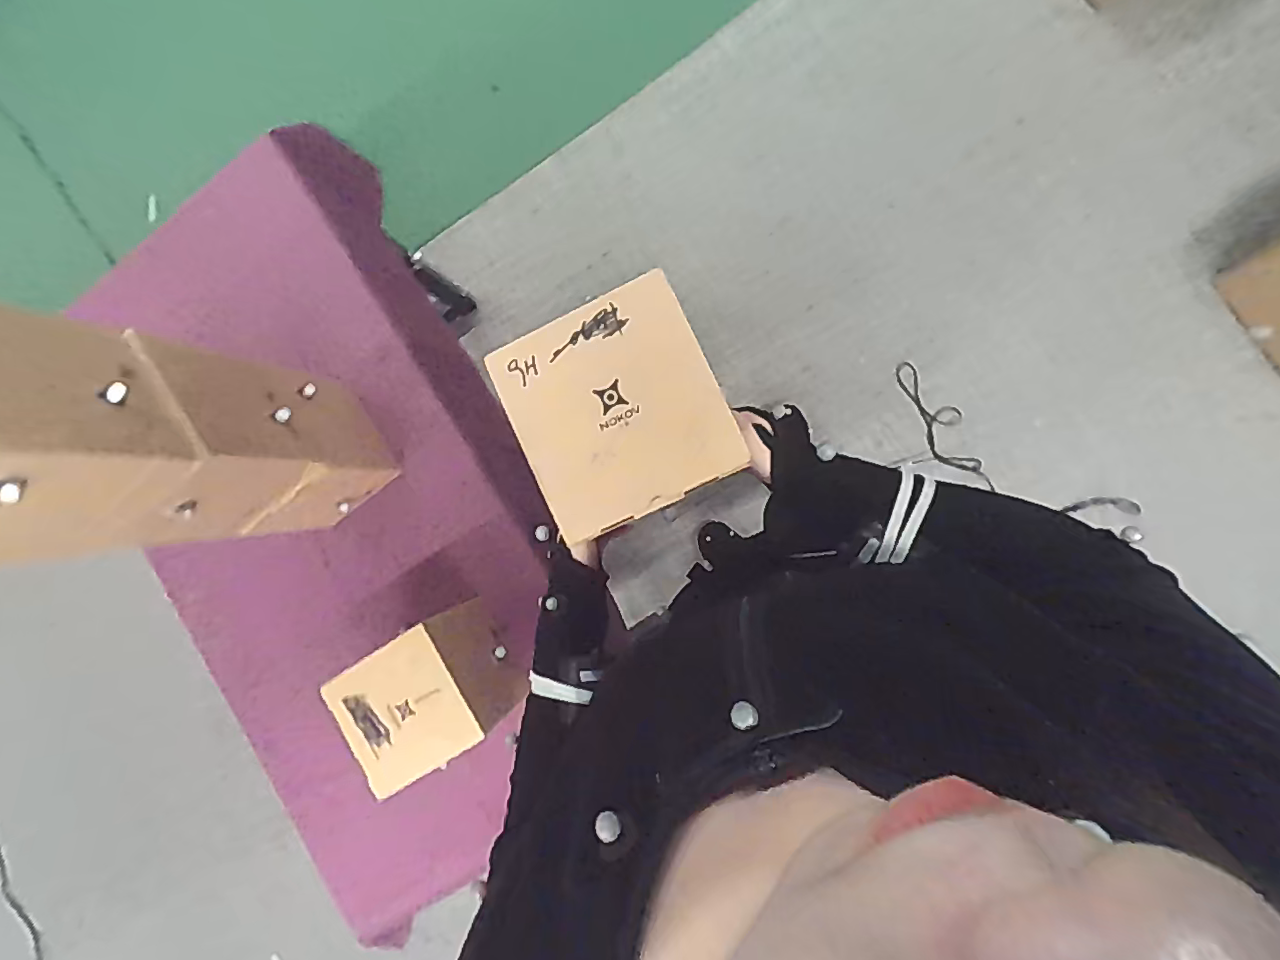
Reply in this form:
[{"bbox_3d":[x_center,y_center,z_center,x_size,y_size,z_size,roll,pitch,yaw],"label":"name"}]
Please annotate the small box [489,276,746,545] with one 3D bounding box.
[{"bbox_3d":[-0.011,-0.056,0.519,0.168,0.176,0.179,-24,87,6],"label":"small box"}]
